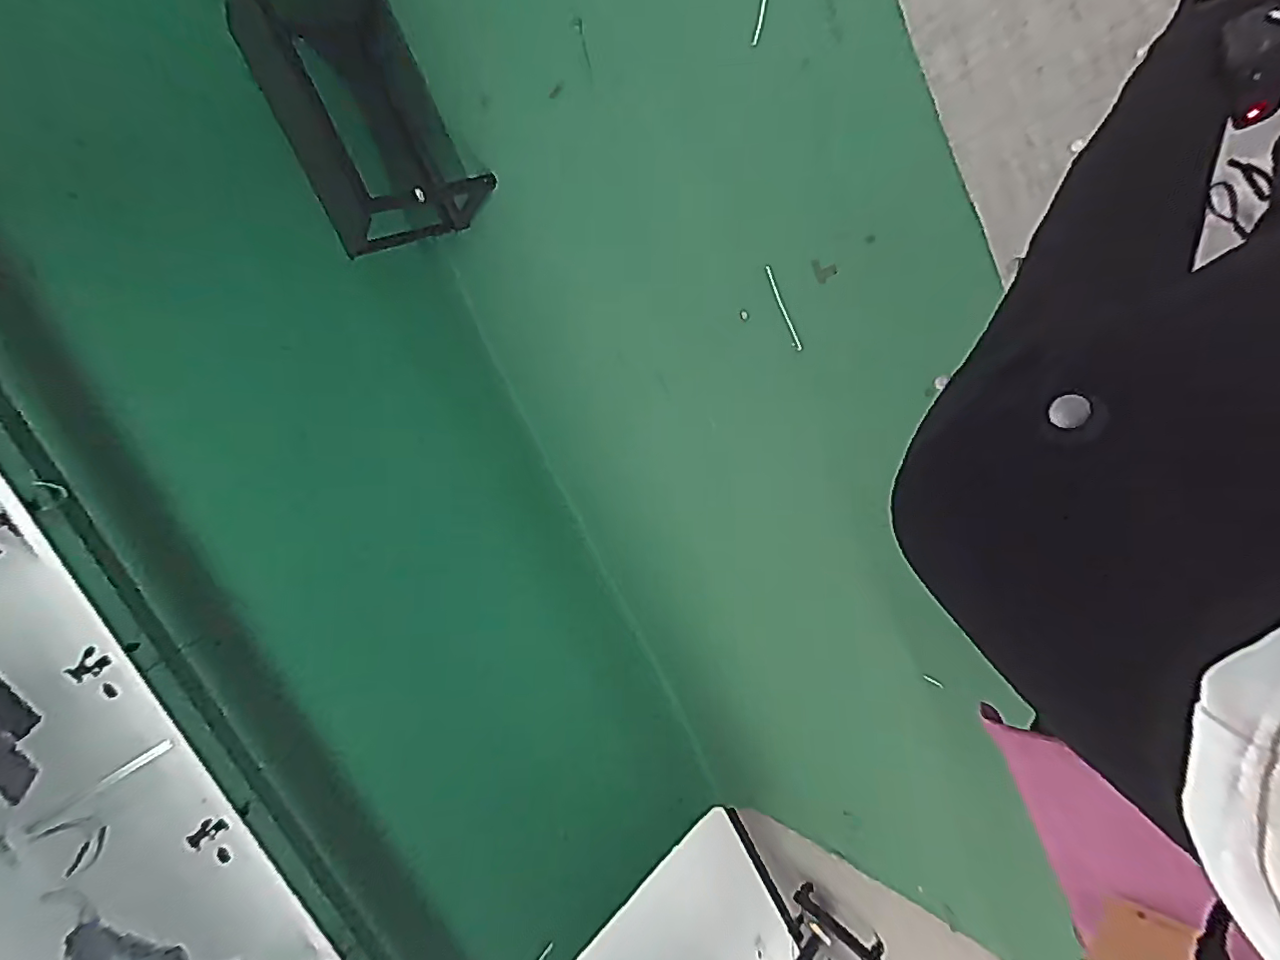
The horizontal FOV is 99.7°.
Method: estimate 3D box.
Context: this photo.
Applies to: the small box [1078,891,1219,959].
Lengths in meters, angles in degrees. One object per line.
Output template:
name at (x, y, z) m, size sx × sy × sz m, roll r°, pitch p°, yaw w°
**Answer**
small box at (0.989, 0.957, 1.035) m, size 0.168 × 0.176 × 0.179 m, roll -14°, pitch 105°, yaw 57°
